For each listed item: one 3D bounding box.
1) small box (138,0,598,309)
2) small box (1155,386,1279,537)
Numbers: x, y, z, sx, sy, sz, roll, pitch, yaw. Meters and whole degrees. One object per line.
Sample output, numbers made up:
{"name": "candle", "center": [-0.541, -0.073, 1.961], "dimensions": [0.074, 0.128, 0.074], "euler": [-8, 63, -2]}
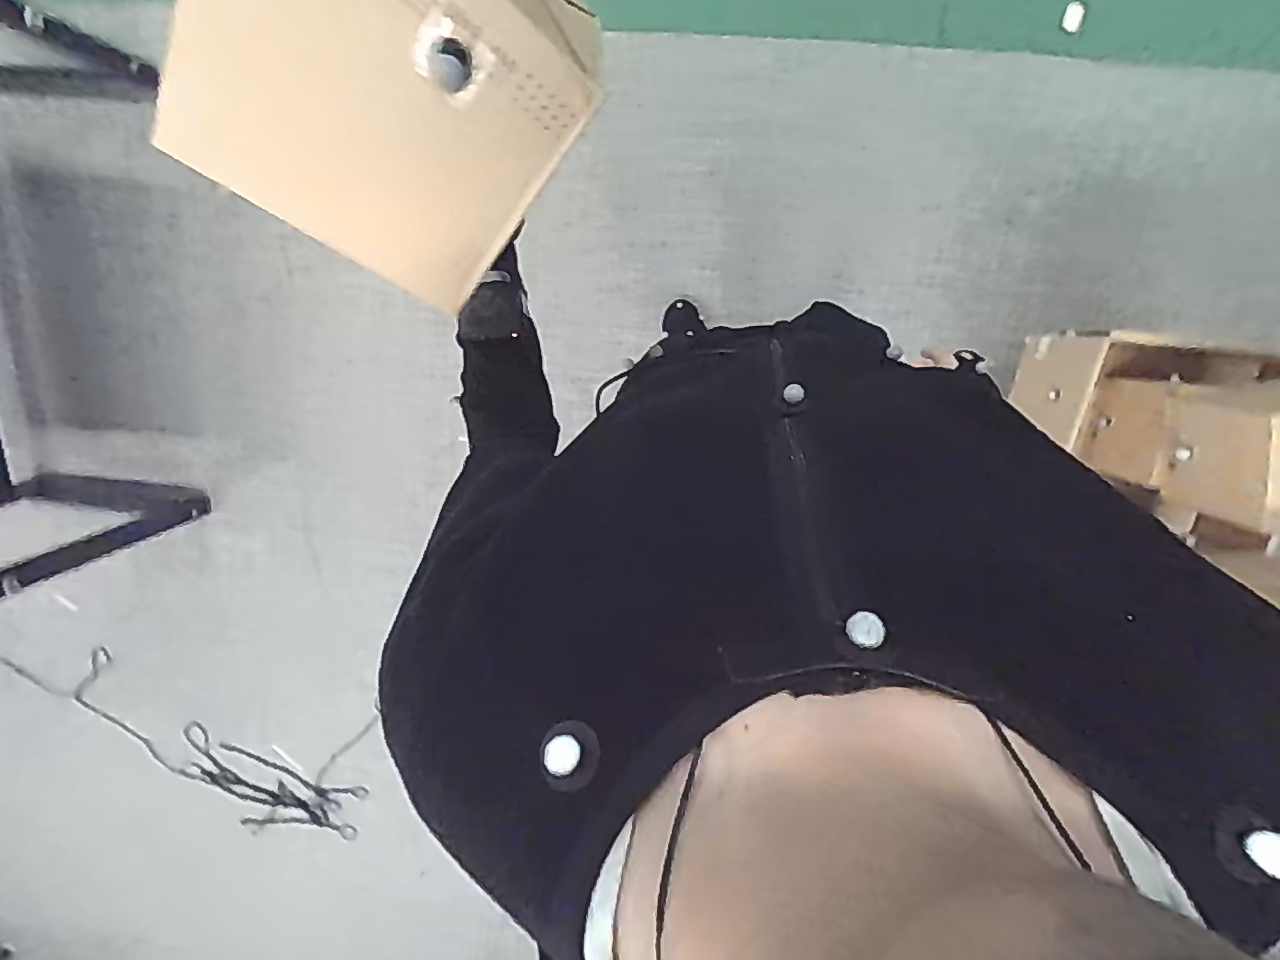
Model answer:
{"name": "small box", "center": [-0.139, -0.246, 0.313], "dimensions": [0.168, 0.179, 0.176], "euler": [24, 132, -33]}
{"name": "small box", "center": [0.905, -0.034, 0.772], "dimensions": [0.179, 0.176, 0.168], "euler": [-9, 104, 7]}
